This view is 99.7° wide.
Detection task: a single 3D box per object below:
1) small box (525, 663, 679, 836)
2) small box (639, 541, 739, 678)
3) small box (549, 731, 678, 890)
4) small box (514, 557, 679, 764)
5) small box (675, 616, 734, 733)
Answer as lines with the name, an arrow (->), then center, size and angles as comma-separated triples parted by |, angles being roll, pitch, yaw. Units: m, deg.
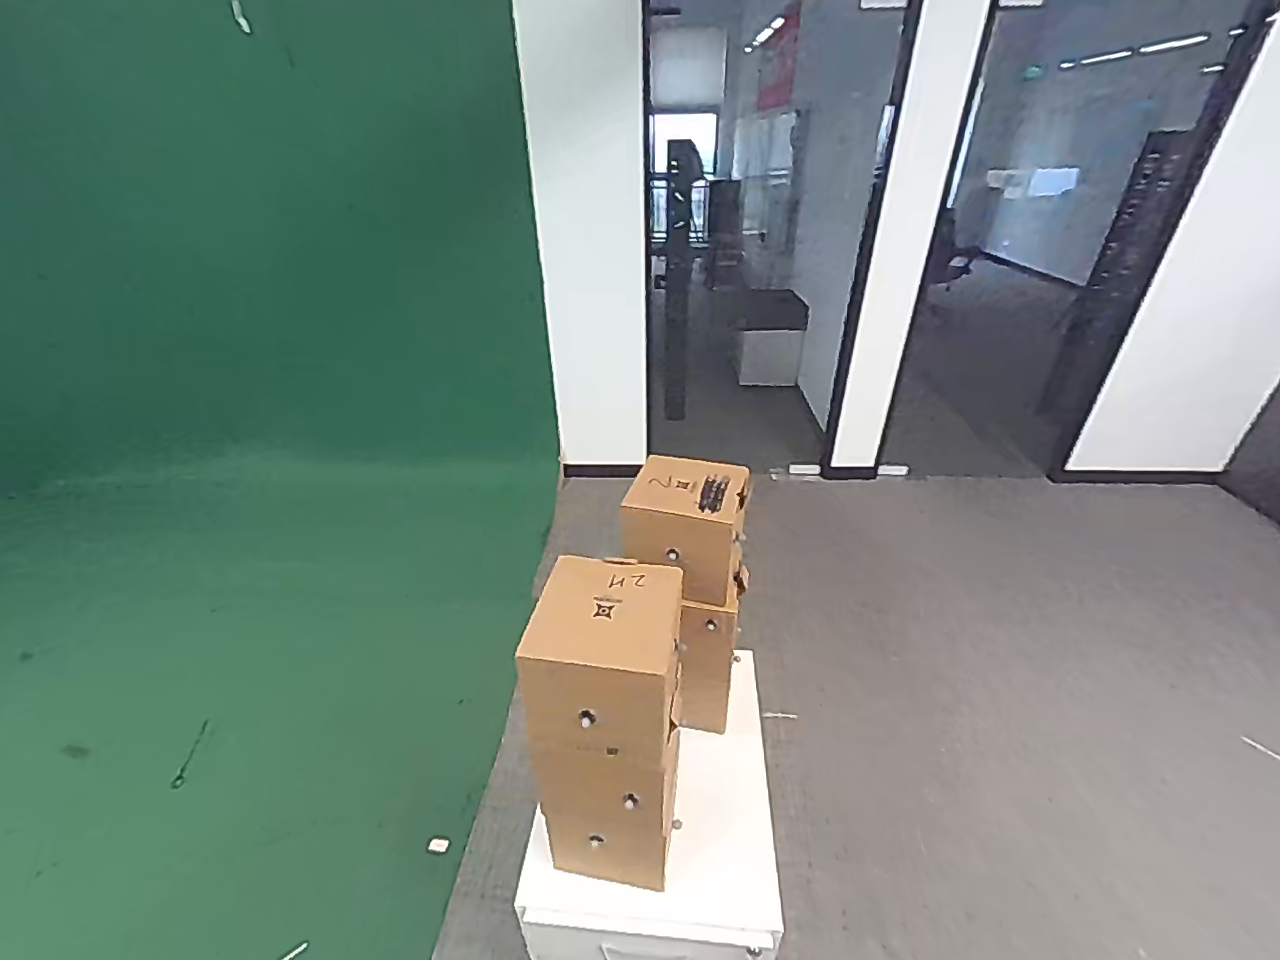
small box -> -0.043, 0.366, 0.763 | 0.179, 0.176, 0.168 | 5, 30, 9
small box -> 0.080, 0.233, 0.978 | 0.179, 0.176, 0.168 | 6, 32, 10
small box -> -0.039, 0.503, 0.850 | 0.179, 0.176, 0.168 | 6, 32, 9
small box -> -0.043, 0.223, 0.681 | 0.168, 0.176, 0.179 | 6, 30, 8
small box -> 0.087, 0.370, 1.066 | 0.179, 0.176, 0.168 | 6, 33, 11
